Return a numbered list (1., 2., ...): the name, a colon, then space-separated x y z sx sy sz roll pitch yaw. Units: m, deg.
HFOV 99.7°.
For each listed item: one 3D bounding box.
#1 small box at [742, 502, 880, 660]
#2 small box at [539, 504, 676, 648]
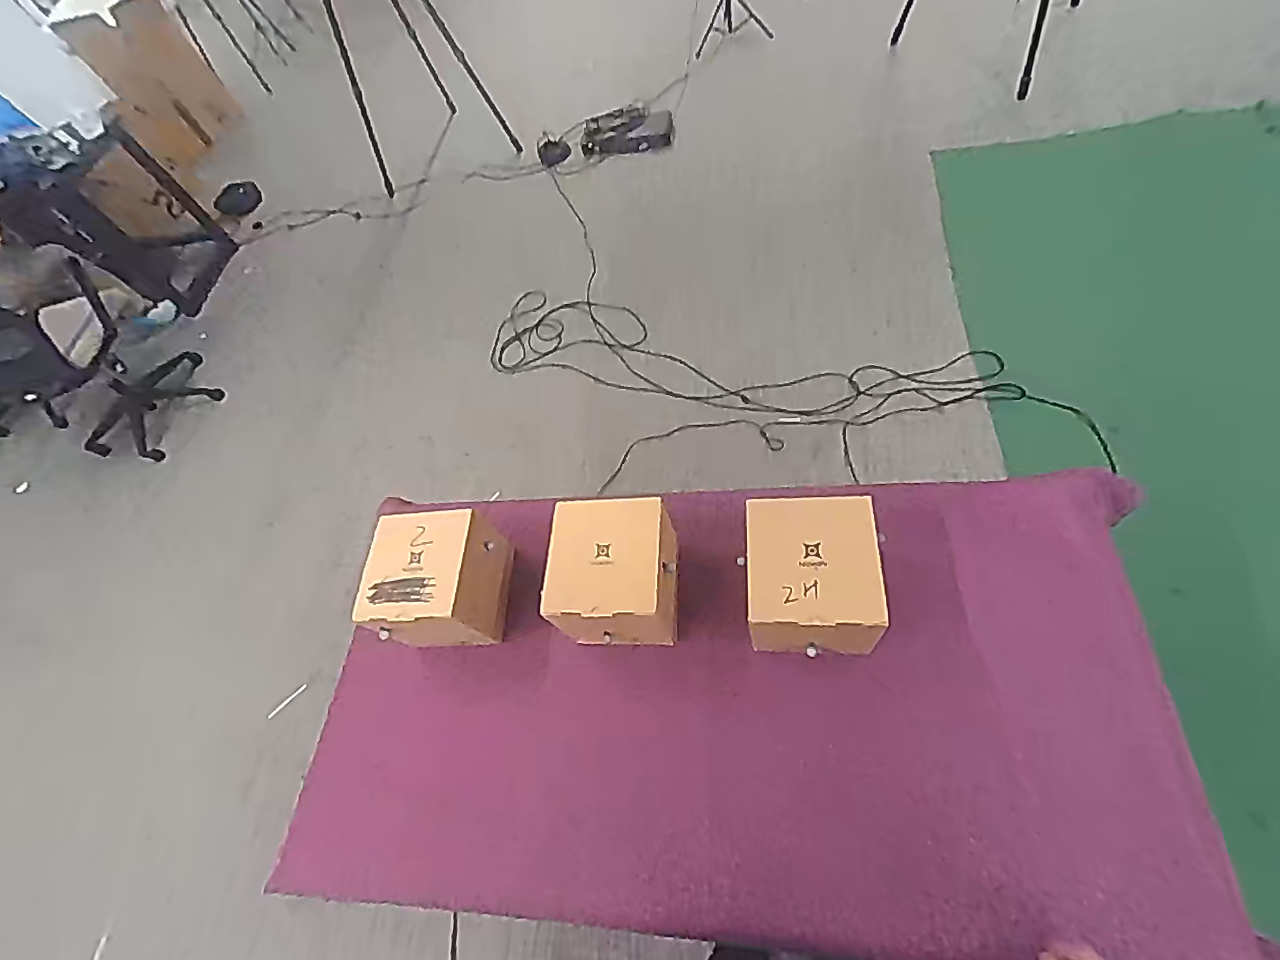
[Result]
1. small box: 0.234 0.146 0.770 0.168 0.176 0.179 -2 61 14
2. small box: -0.039 0.153 0.841 0.168 0.176 0.179 -4 61 13
